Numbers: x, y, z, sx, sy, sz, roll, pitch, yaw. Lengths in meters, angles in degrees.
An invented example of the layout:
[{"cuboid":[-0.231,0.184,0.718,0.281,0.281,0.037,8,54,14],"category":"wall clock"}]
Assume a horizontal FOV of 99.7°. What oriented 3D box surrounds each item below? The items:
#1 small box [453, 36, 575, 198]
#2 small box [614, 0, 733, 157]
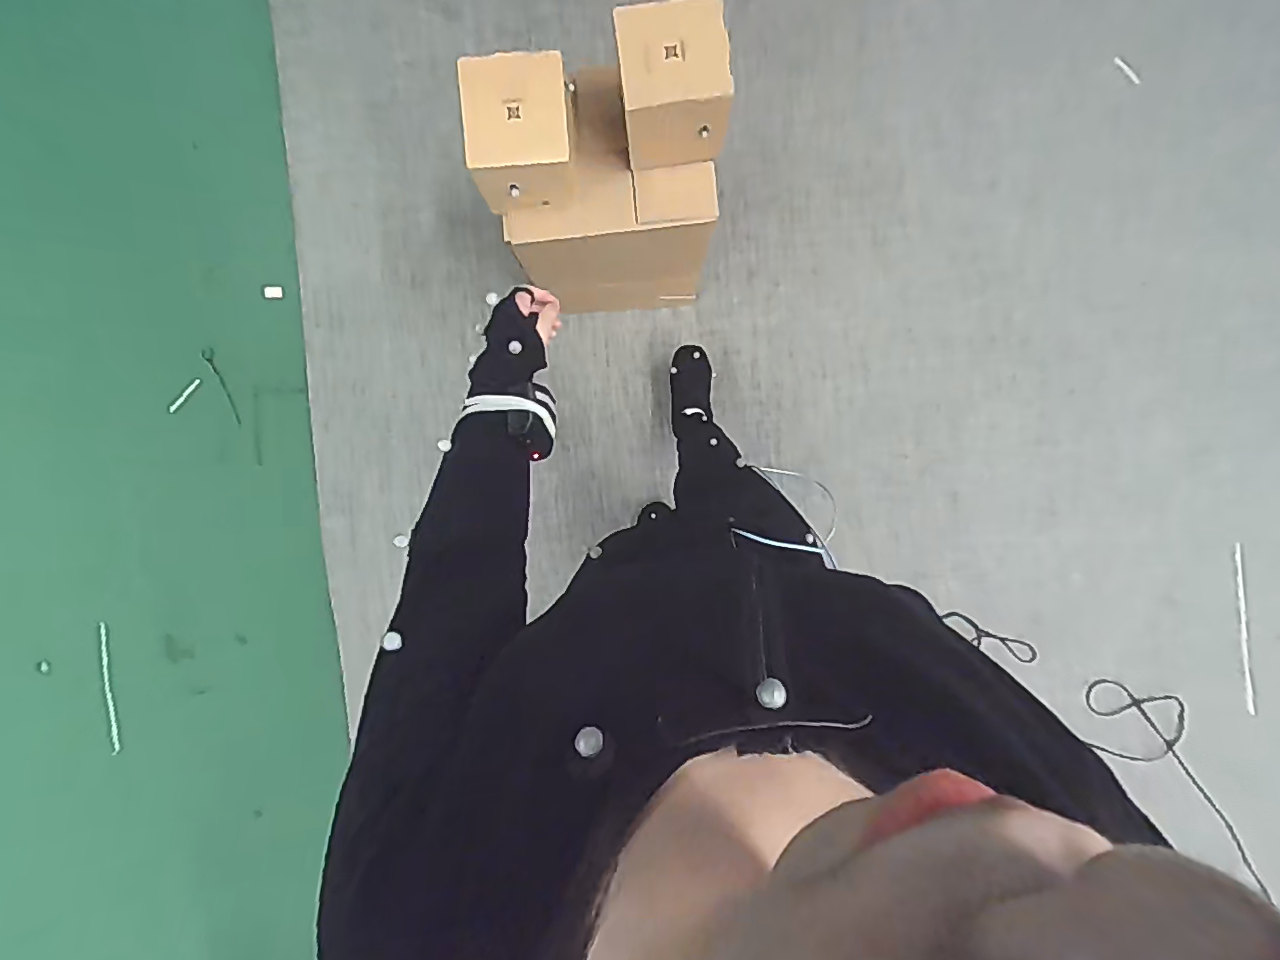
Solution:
[{"cuboid":[-0.204,-0.601,0.921,0.168,0.176,0.179,-4,93,-1],"category":"small box"},{"cuboid":[0.053,-0.683,0.919,0.179,0.176,0.168,-6,91,2],"category":"small box"}]
